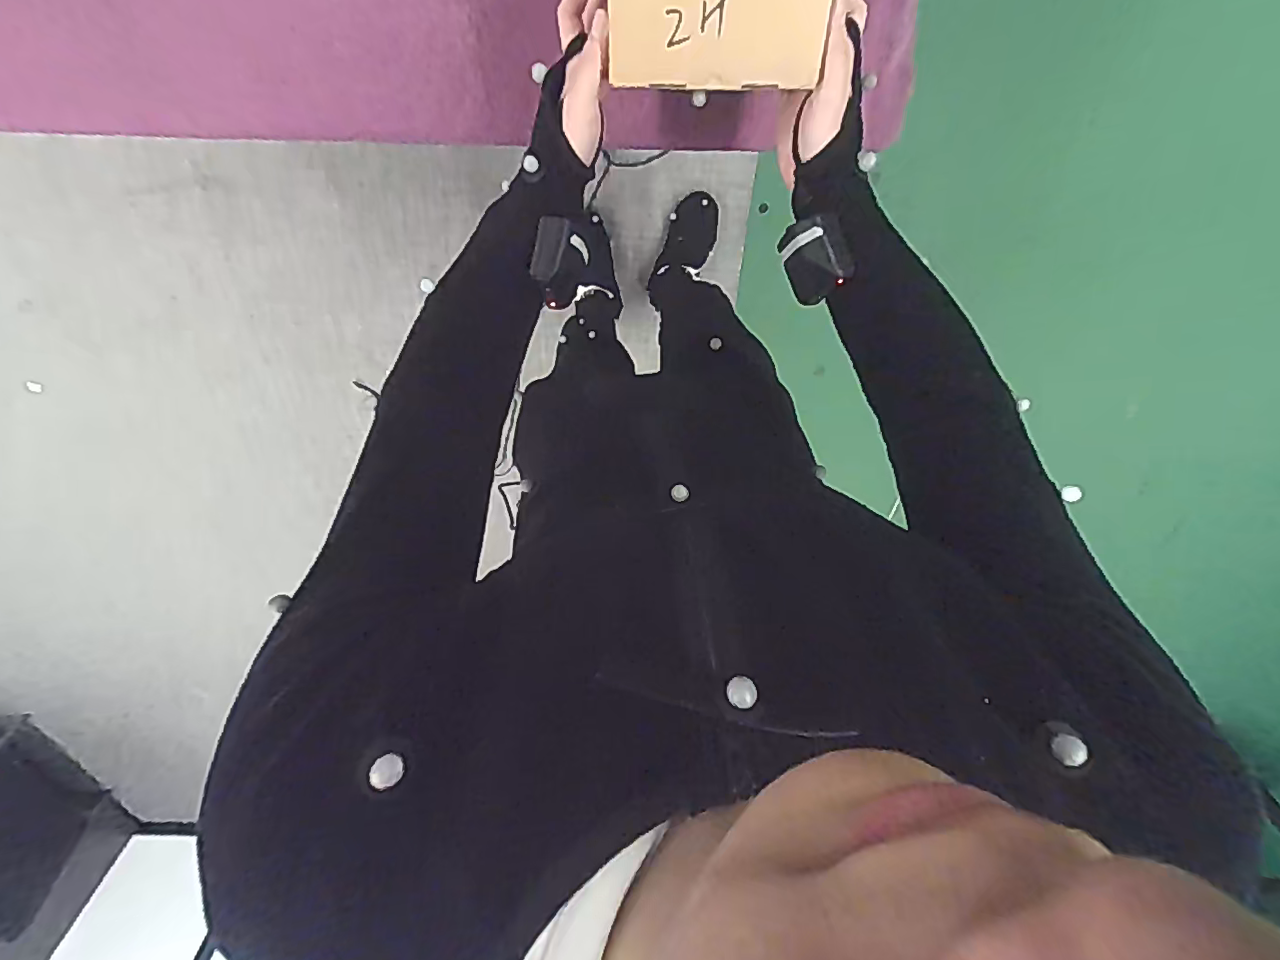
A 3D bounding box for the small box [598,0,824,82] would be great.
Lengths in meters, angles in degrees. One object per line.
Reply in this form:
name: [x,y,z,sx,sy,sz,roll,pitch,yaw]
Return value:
small box: [0.052,-0.427,0.428,0.168,0.176,0.179,1,127,0]
